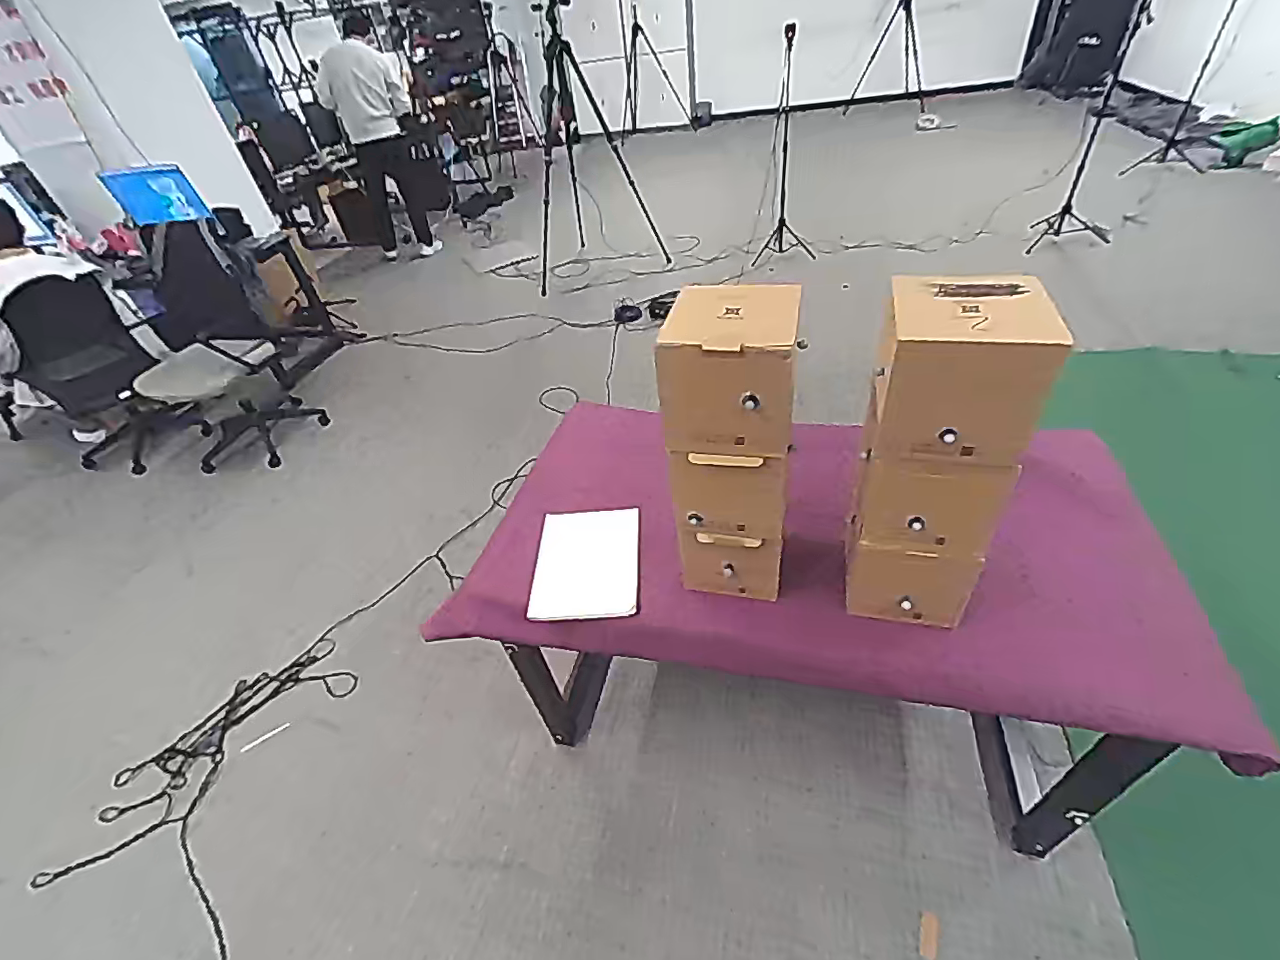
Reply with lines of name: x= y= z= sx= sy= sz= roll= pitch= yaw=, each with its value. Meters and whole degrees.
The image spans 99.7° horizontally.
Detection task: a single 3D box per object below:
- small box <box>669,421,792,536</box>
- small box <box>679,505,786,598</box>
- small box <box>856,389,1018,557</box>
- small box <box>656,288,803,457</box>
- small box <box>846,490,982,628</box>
small box: x=0.151 y=-0.031 z=0.859 sx=0.168 sy=0.176 sz=0.179 roll=5 pitch=42 yaw=16
small box: x=0.173 y=0.088 z=0.971 sx=0.168 sy=0.176 sz=0.179 roll=5 pitch=44 yaw=16
small box: x=0.415 y=-0.014 z=0.791 sx=0.168 sy=0.176 sz=0.179 roll=5 pitch=42 yaw=16
small box: x=0.130 y=-0.150 z=0.749 sx=0.168 sy=0.176 sz=0.179 roll=6 pitch=43 yaw=16
small box: x=0.435 y=0.113 z=0.890 sx=0.168 sy=0.176 sz=0.179 roll=4 pitch=42 yaw=17
